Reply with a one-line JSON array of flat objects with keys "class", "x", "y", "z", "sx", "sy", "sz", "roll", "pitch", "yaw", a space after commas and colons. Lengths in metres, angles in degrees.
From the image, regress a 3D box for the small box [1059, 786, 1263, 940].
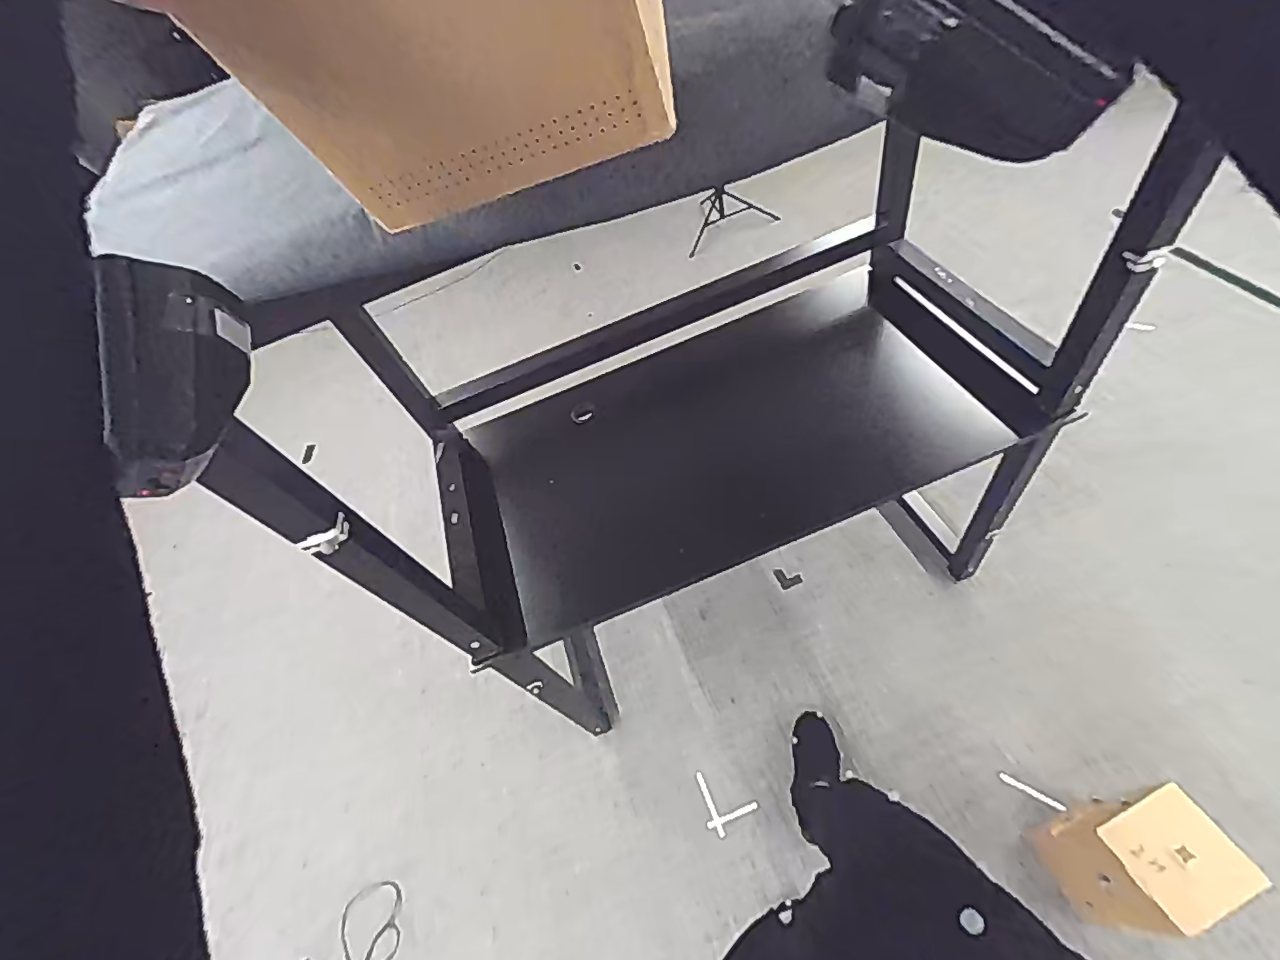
[{"class": "small box", "x": 0.919, "y": 0.683, "z": 0.979, "sx": 0.179, "sy": 0.176, "sz": 0.168, "roll": -27, "pitch": 53, "yaw": -4}]
